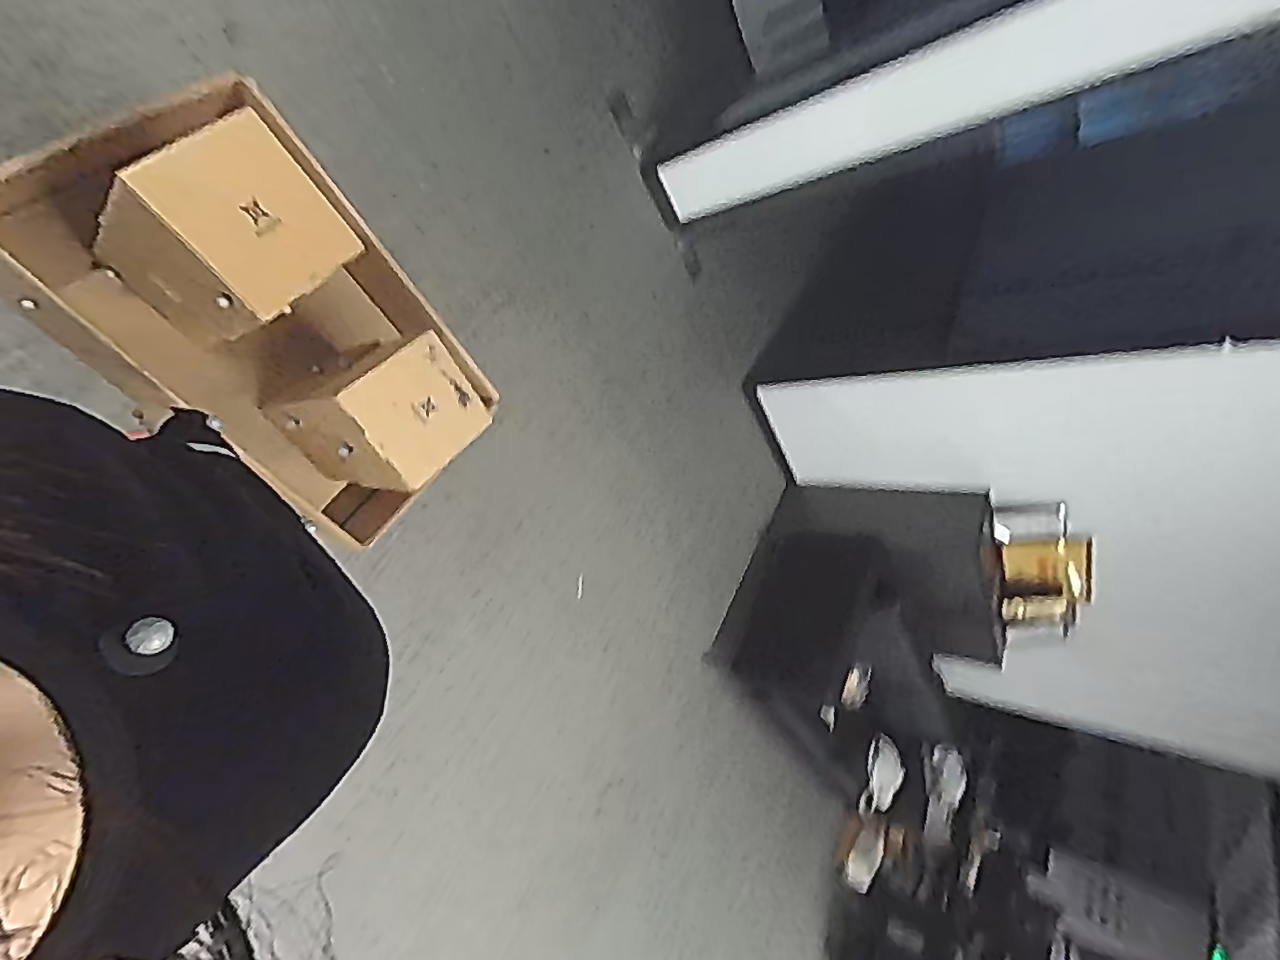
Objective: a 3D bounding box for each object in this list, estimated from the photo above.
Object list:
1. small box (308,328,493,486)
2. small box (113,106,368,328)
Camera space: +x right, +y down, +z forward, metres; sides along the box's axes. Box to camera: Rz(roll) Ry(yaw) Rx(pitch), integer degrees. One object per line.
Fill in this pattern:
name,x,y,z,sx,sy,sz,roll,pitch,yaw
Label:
small box,-0.370,-0.109,0.826,0.179,0.176,0.168,-50,127,-33
small box,-0.494,-0.312,0.672,0.168,0.176,0.179,-57,132,-29
